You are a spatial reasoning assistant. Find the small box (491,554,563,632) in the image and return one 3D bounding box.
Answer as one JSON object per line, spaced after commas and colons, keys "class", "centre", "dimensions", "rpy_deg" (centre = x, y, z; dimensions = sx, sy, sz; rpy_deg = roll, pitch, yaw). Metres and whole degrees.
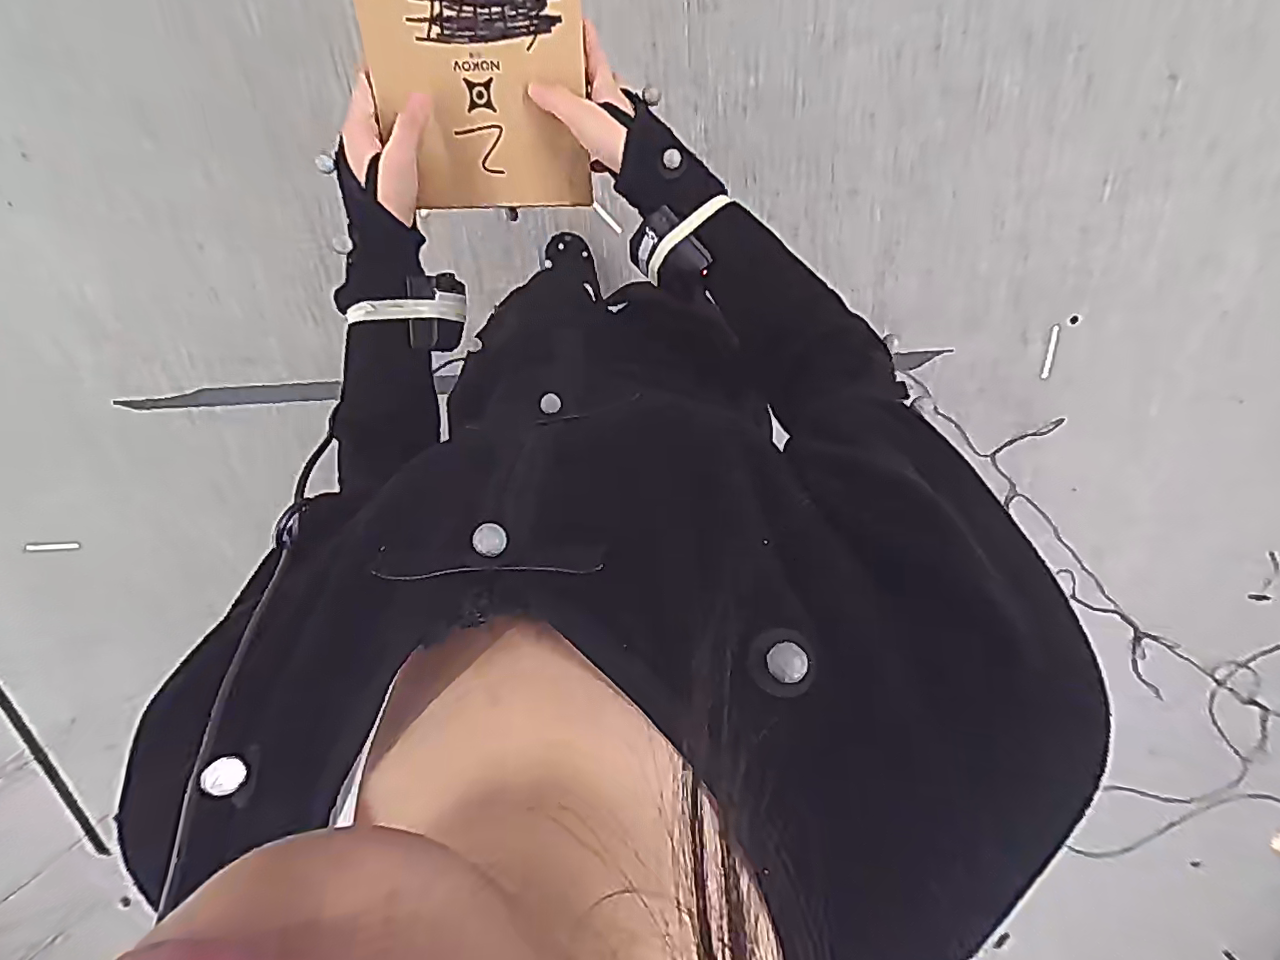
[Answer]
{"class": "small box", "centre": [-0.328, 0.328, 1.592], "dimensions": [0.179, 0.176, 0.168], "rpy_deg": [0, 112, -1]}
